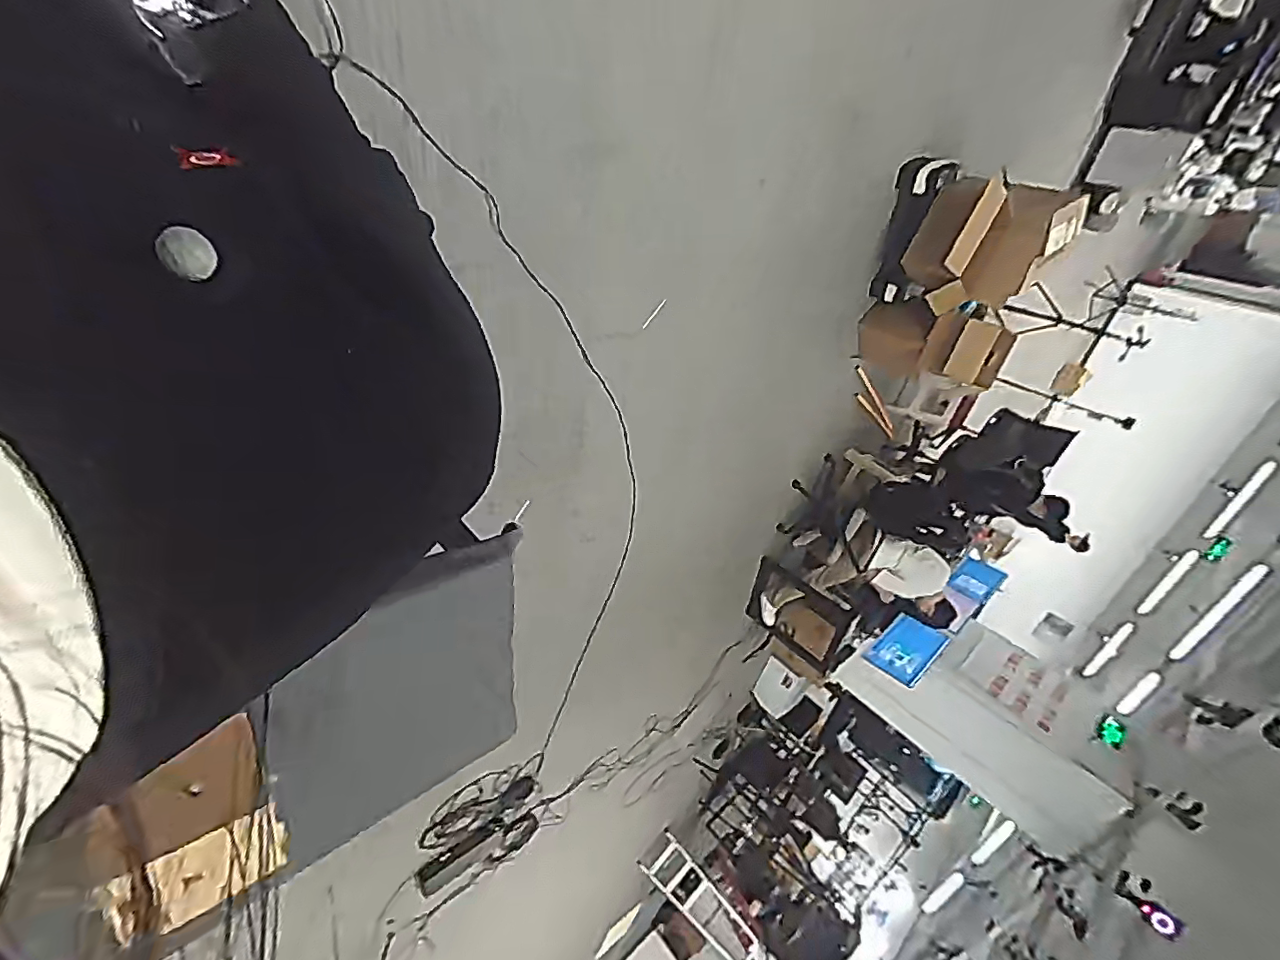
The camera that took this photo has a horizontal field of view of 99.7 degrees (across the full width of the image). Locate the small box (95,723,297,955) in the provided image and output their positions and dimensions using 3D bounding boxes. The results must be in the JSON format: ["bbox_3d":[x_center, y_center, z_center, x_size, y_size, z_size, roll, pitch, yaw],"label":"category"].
[{"bbox_3d":[-0.607,0.479,0.748,0.179,0.176,0.168,-18,131,-39],"label":"small box"}]
